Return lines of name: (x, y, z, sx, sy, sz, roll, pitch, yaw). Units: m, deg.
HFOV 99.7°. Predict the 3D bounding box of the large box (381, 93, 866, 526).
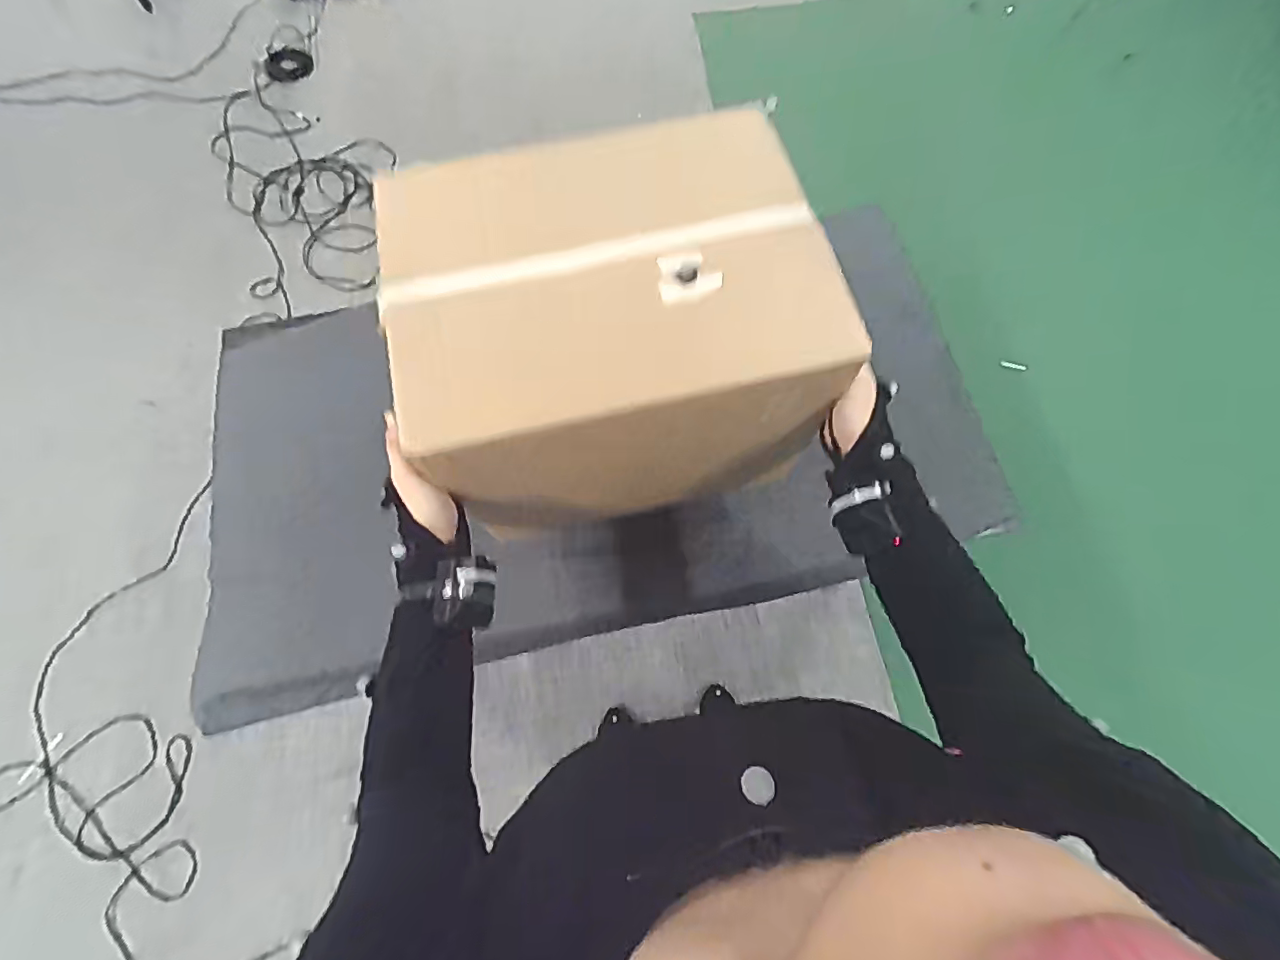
large box: (-0.029, -0.169, 0.640, 0.408, 0.320, 0.320, -13, 72, -4)
